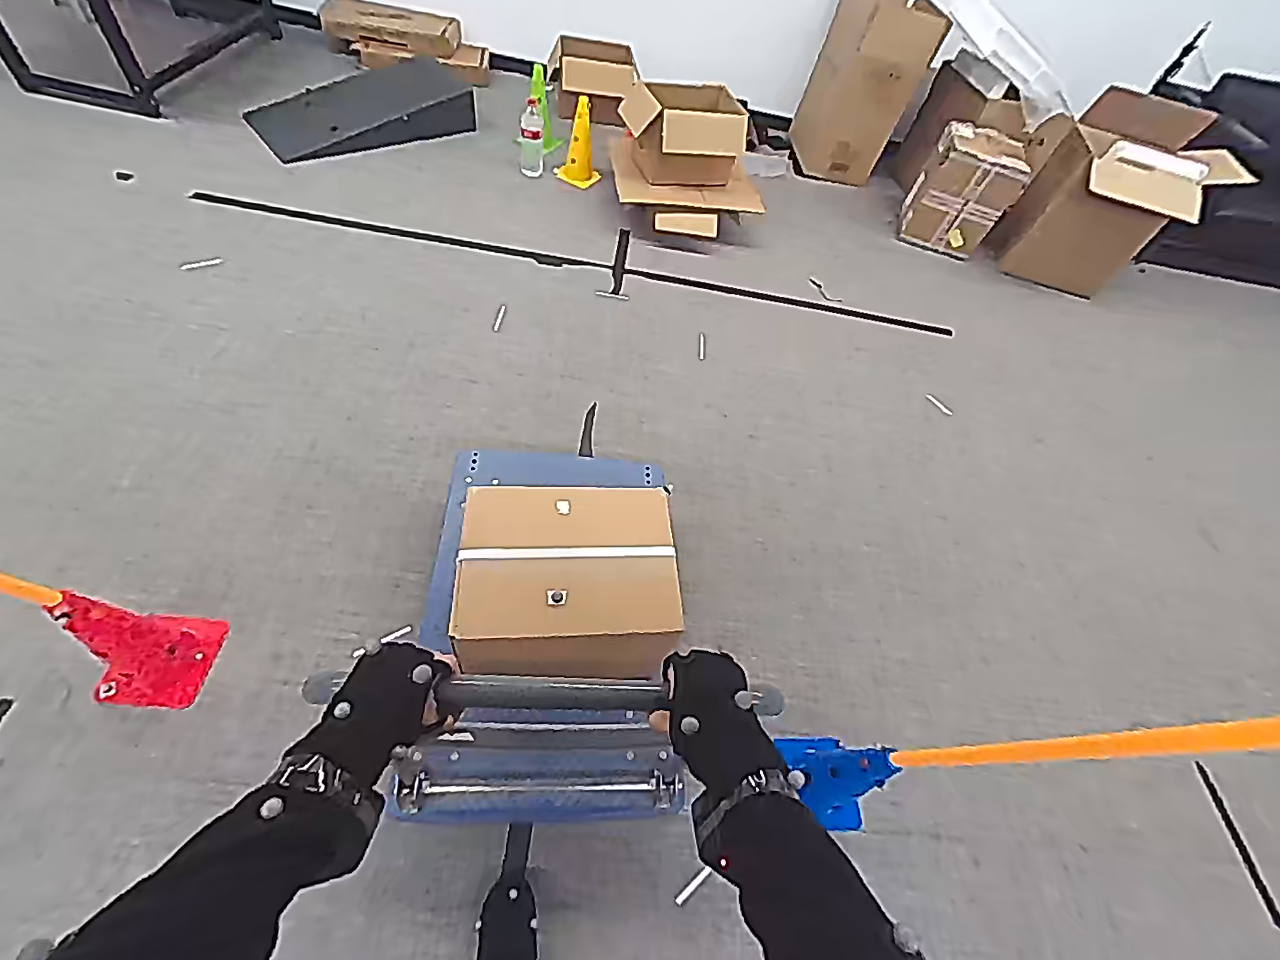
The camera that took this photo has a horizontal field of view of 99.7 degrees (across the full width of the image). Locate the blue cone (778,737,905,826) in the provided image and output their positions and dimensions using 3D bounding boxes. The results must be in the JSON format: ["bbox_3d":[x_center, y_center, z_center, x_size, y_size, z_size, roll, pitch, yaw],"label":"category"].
[{"bbox_3d":[0.465,0.632,1.182,0.193,0.380,0.192,5,53,-8],"label":"blue cone"}]
